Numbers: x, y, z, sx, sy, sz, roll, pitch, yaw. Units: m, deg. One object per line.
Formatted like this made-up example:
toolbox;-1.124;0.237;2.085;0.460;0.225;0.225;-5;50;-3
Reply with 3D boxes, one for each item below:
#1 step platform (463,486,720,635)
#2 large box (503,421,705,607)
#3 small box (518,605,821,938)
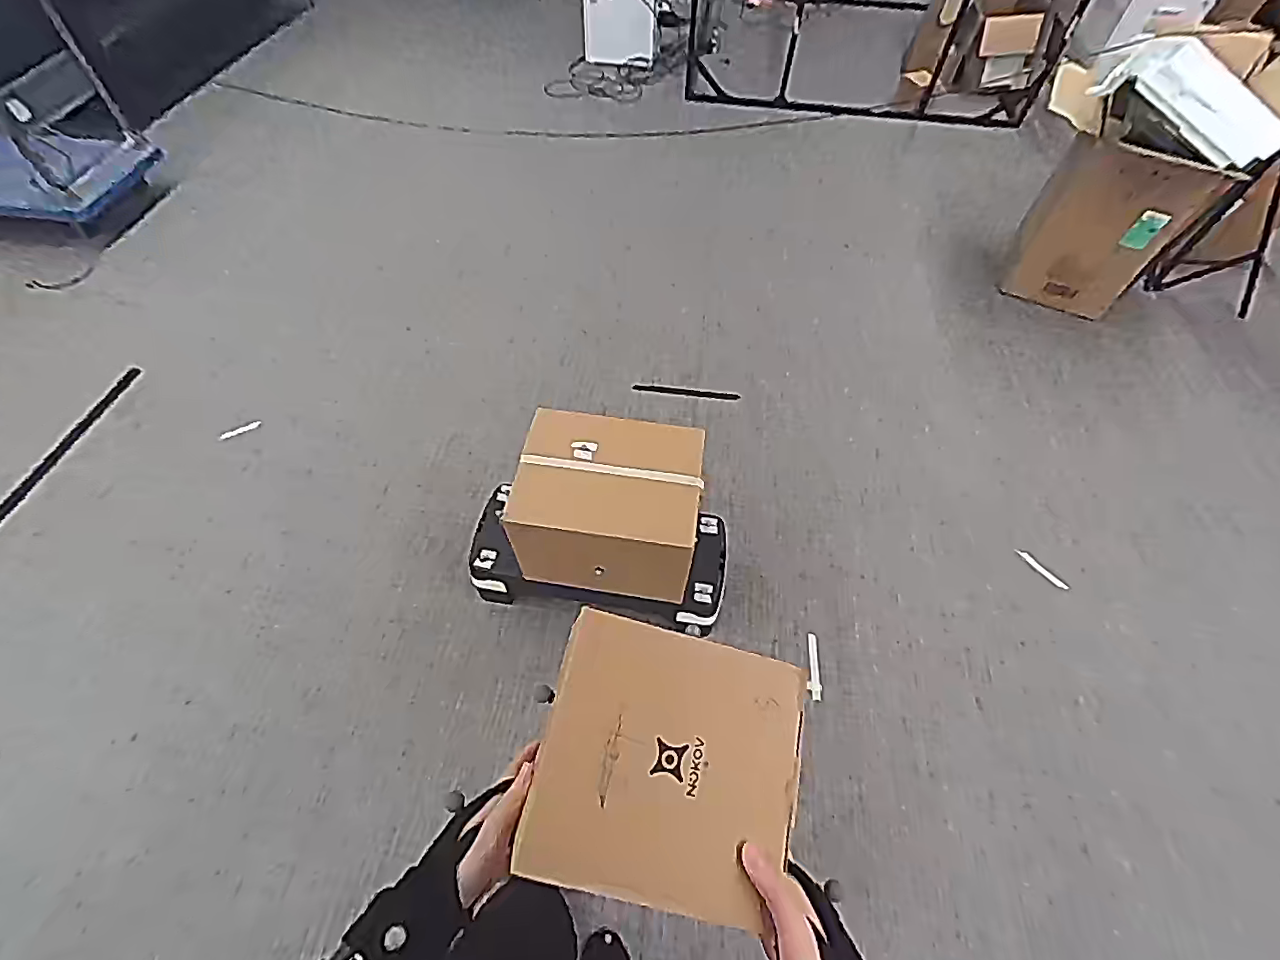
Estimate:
step platform;-0.125;0.232;1.487;0.684;0.204;0.286;12;56;8
large box;-0.064;0.089;1.297;0.408;0.320;0.320;7;55;5
small box;0.016;0.213;0.430;0.179;0.176;0.168;18;66;-3
